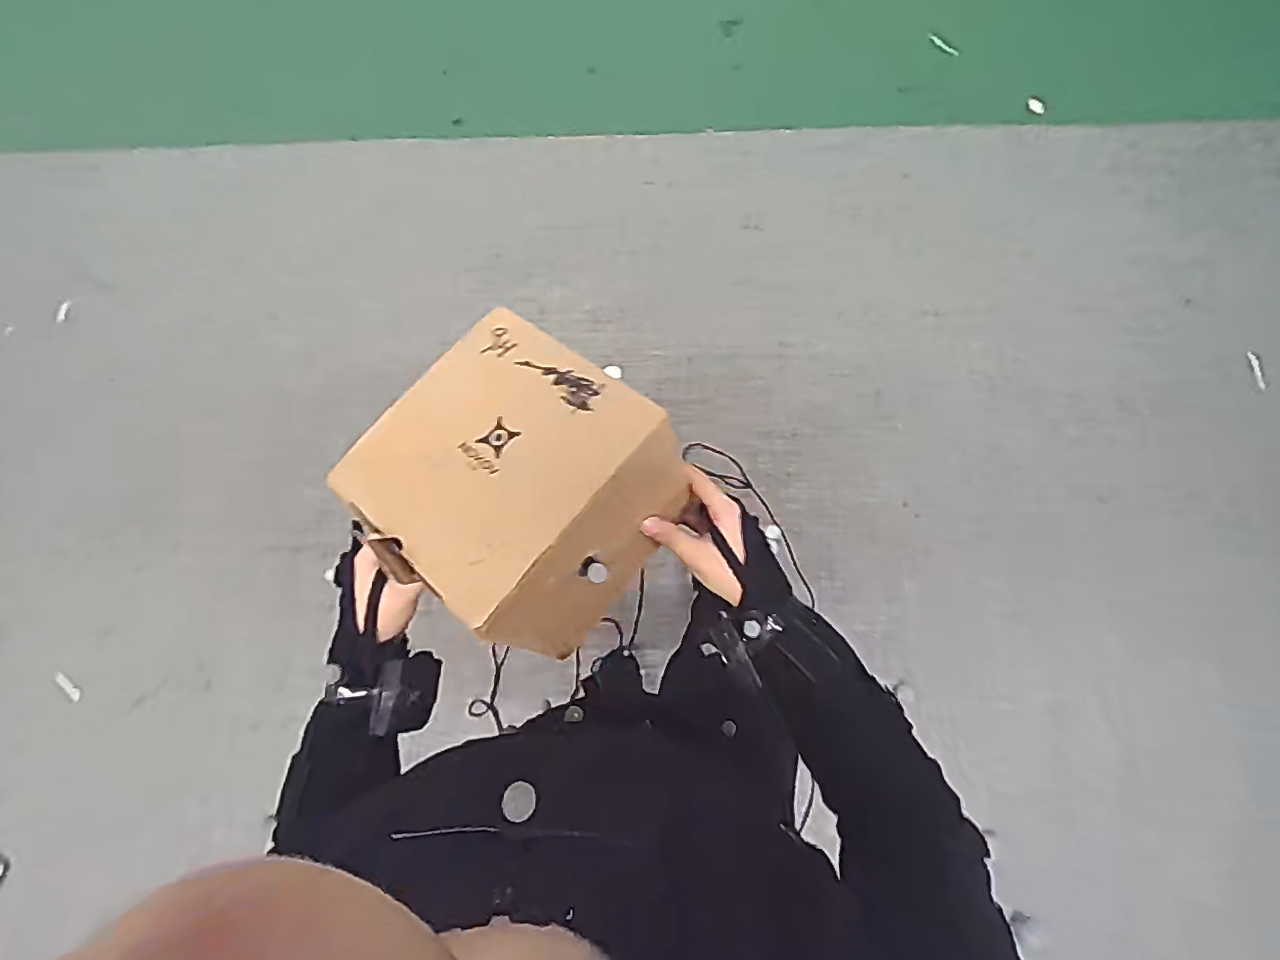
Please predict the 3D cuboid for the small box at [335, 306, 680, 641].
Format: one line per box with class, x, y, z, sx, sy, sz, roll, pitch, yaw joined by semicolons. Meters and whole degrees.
small box;-0.084;0.007;0.431;0.168;0.176;0.179;35;79;22
